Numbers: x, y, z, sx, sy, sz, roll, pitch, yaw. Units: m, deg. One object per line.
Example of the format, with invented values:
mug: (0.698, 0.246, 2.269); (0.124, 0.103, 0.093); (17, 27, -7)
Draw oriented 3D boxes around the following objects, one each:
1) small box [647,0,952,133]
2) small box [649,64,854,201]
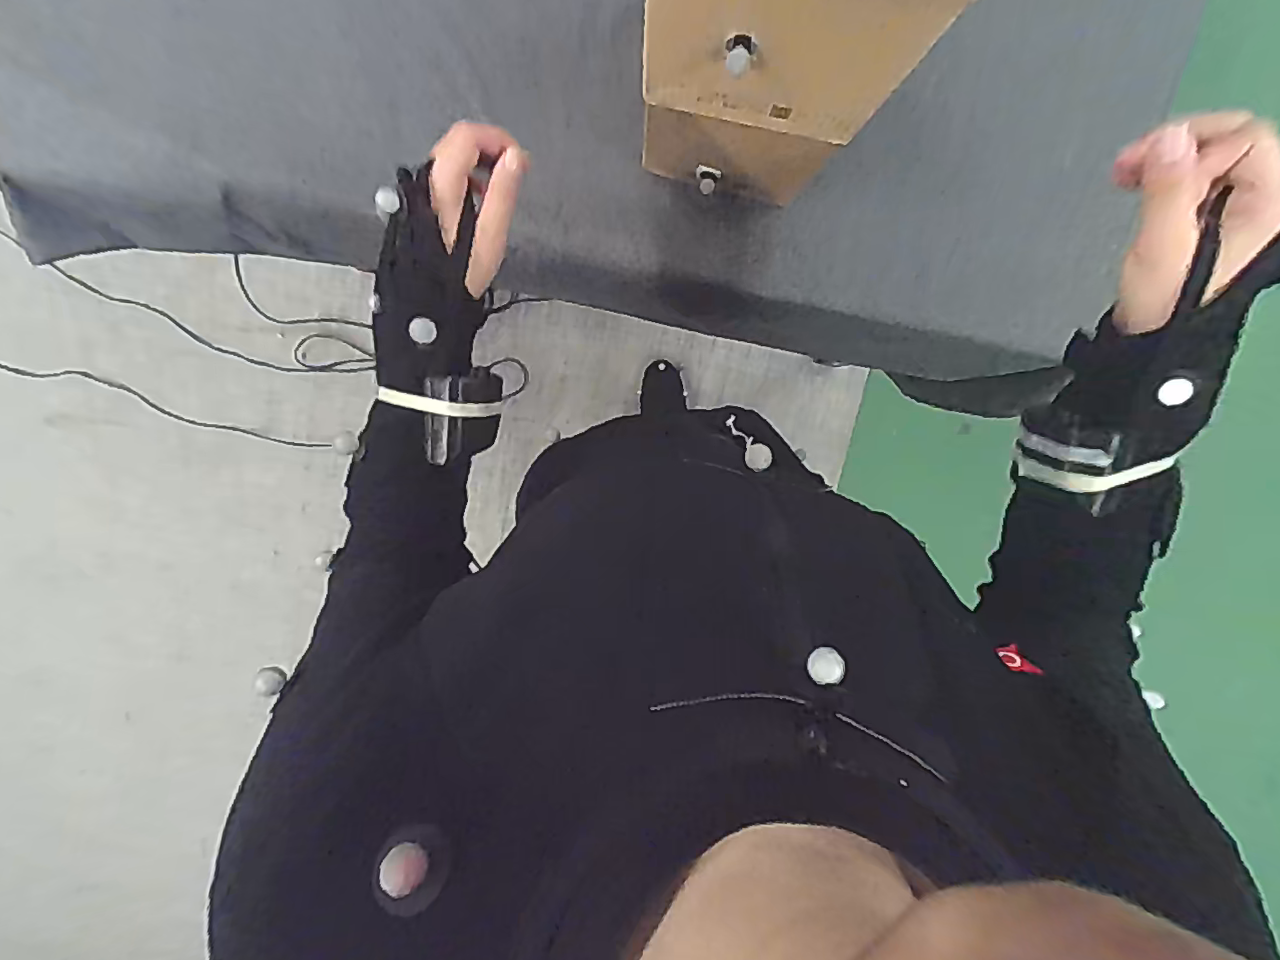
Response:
small box: (0.099, -0.345, 0.322); (0.168, 0.176, 0.179); (10, 99, -2)
small box: (0.103, -0.380, 0.481); (0.168, 0.176, 0.179); (12, 101, -2)
